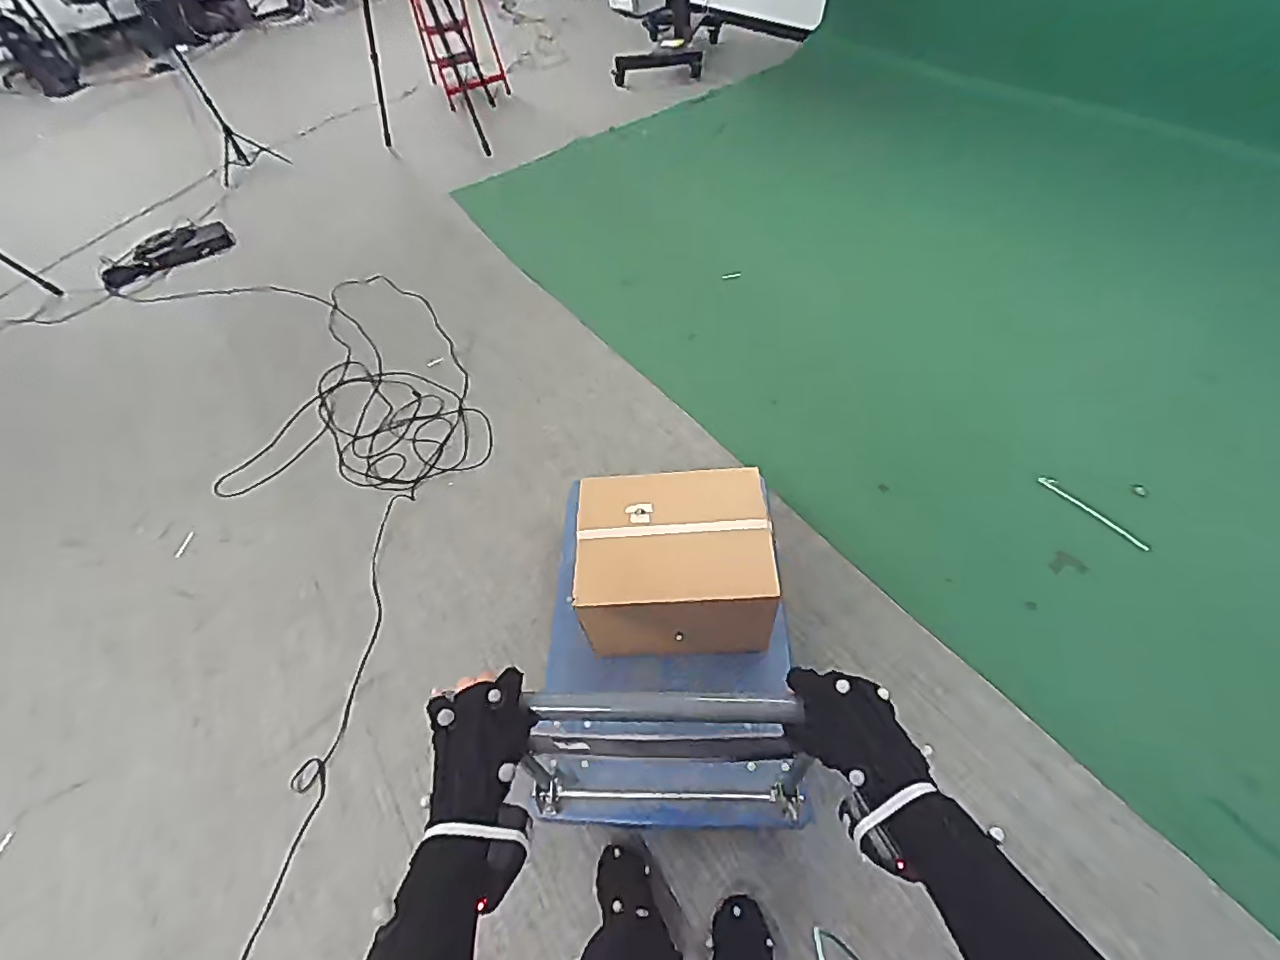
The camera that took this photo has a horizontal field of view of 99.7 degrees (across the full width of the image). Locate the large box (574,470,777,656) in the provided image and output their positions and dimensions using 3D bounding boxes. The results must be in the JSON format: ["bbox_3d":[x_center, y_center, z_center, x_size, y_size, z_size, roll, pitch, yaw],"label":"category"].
[{"bbox_3d":[0.080,0.202,1.253,0.408,0.320,0.320,-4,53,4],"label":"large box"}]
